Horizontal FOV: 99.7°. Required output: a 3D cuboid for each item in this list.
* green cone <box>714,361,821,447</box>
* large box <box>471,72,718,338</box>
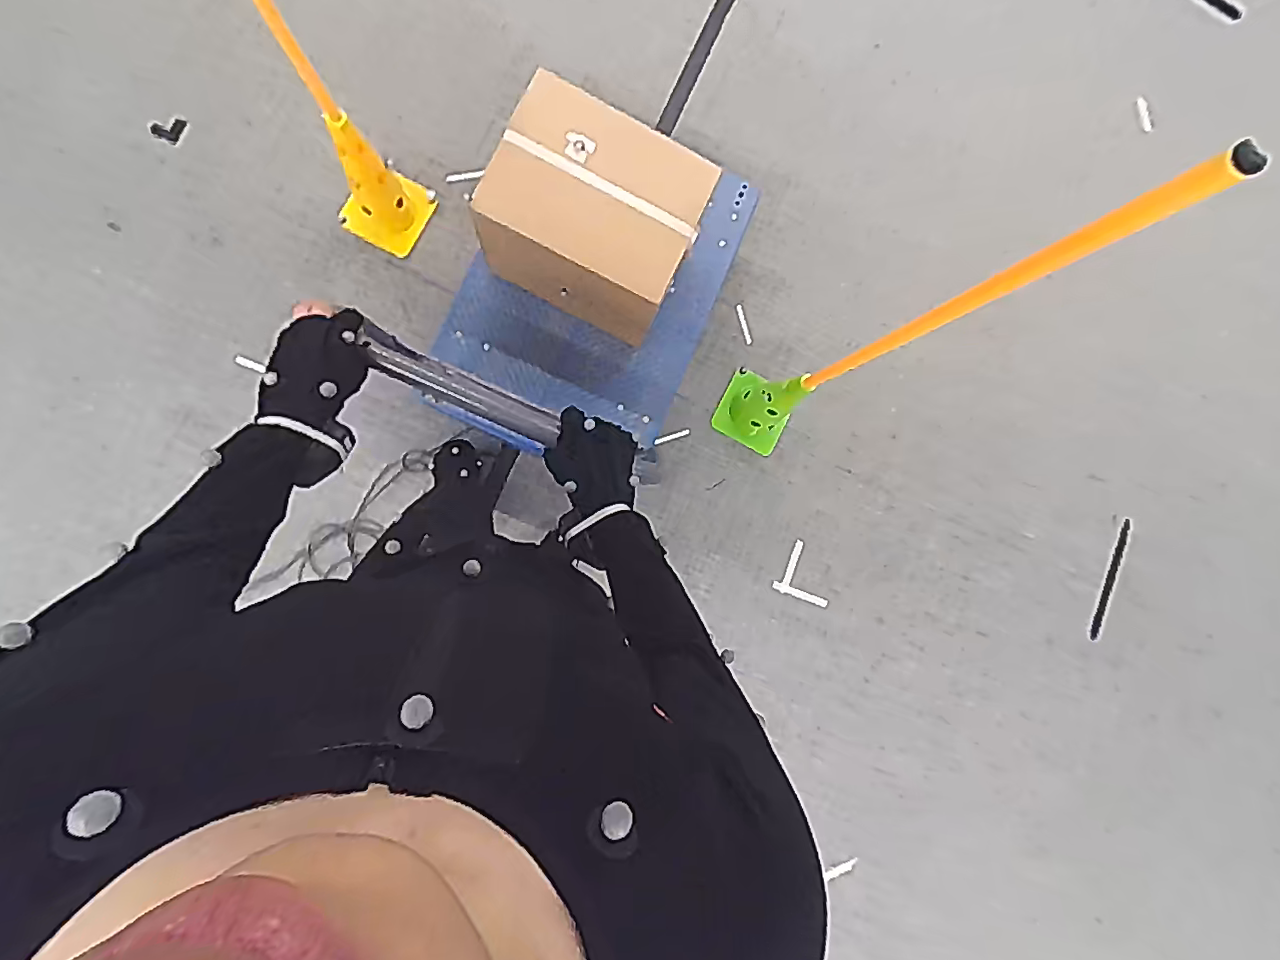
[{"bbox_3d":[0.357,-0.224,1.388,0.202,0.368,0.200,28,84,-7],"label":"green cone"},{"bbox_3d":[-0.096,-0.569,1.199,0.408,0.320,0.320,26,86,-5],"label":"large box"}]
